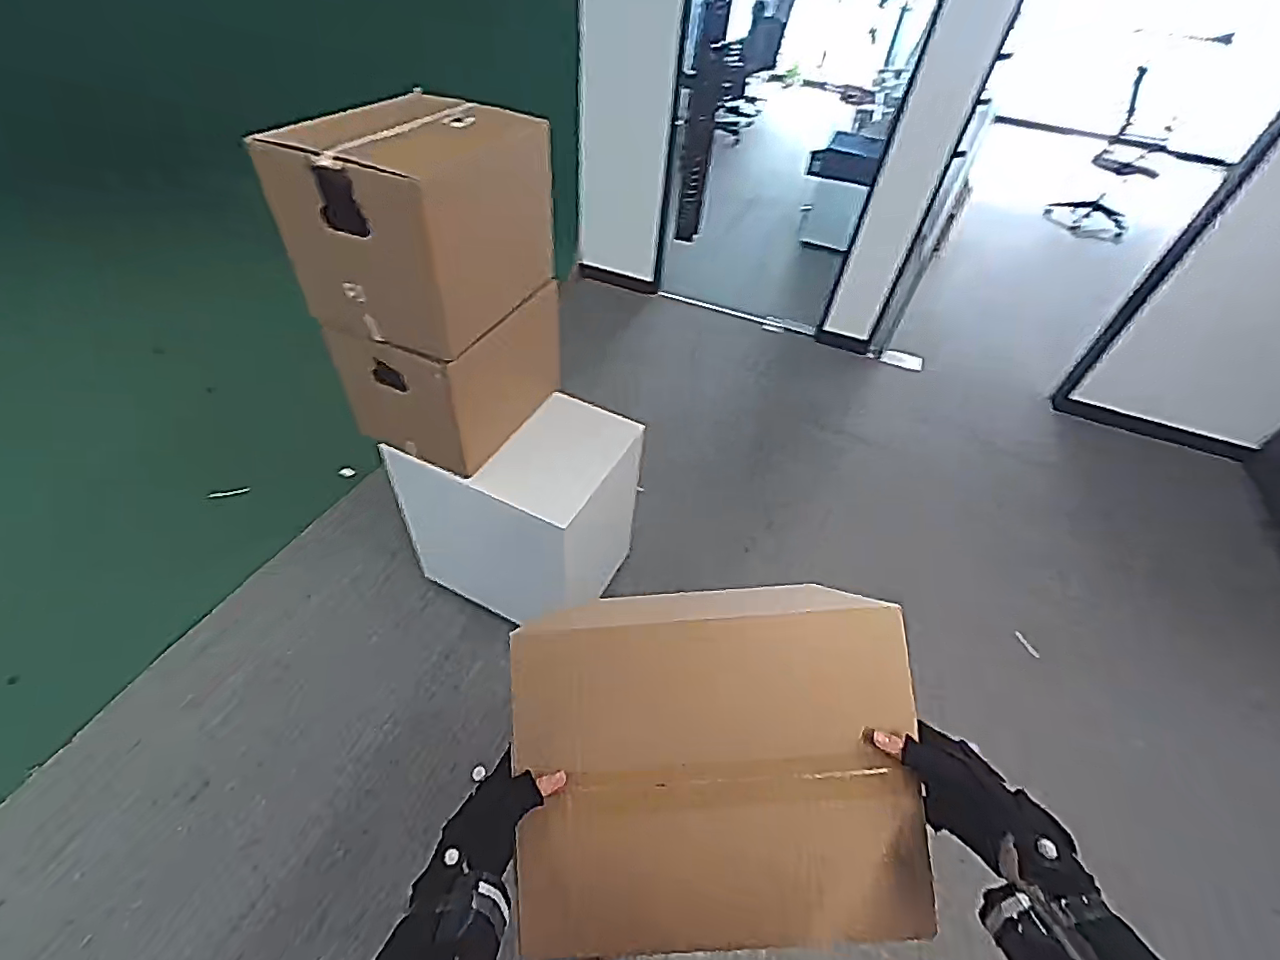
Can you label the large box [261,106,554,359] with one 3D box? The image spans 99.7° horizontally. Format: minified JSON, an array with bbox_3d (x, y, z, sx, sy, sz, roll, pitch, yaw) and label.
[{"bbox_3d":[-0.397,-0.489,1.047,0.320,0.320,0.408,19,46,11],"label":"large box"}]
